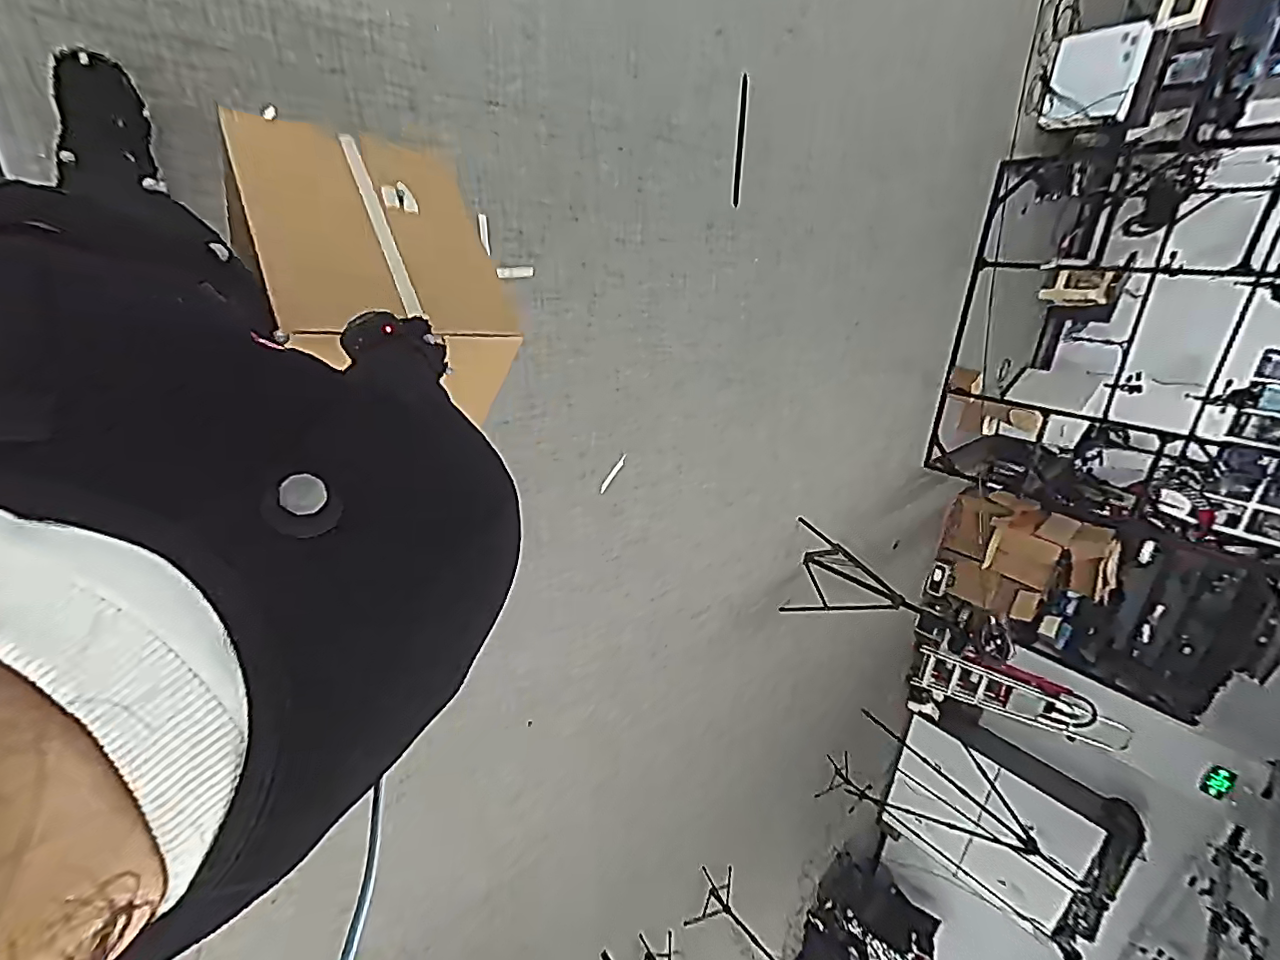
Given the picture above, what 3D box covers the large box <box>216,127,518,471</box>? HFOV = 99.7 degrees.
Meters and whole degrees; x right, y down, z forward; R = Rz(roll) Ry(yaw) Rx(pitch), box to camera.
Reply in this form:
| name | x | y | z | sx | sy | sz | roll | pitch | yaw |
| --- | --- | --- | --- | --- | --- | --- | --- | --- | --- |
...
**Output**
| name | x | y | z | sx | sy | sz | roll | pitch | yaw |
| --- | --- | --- | --- | --- | --- | --- | --- | --- | --- |
| large box | -0.458 | -0.277 | 0.893 | 0.320 | 0.408 | 0.320 | -11 | 154 | -41 |
